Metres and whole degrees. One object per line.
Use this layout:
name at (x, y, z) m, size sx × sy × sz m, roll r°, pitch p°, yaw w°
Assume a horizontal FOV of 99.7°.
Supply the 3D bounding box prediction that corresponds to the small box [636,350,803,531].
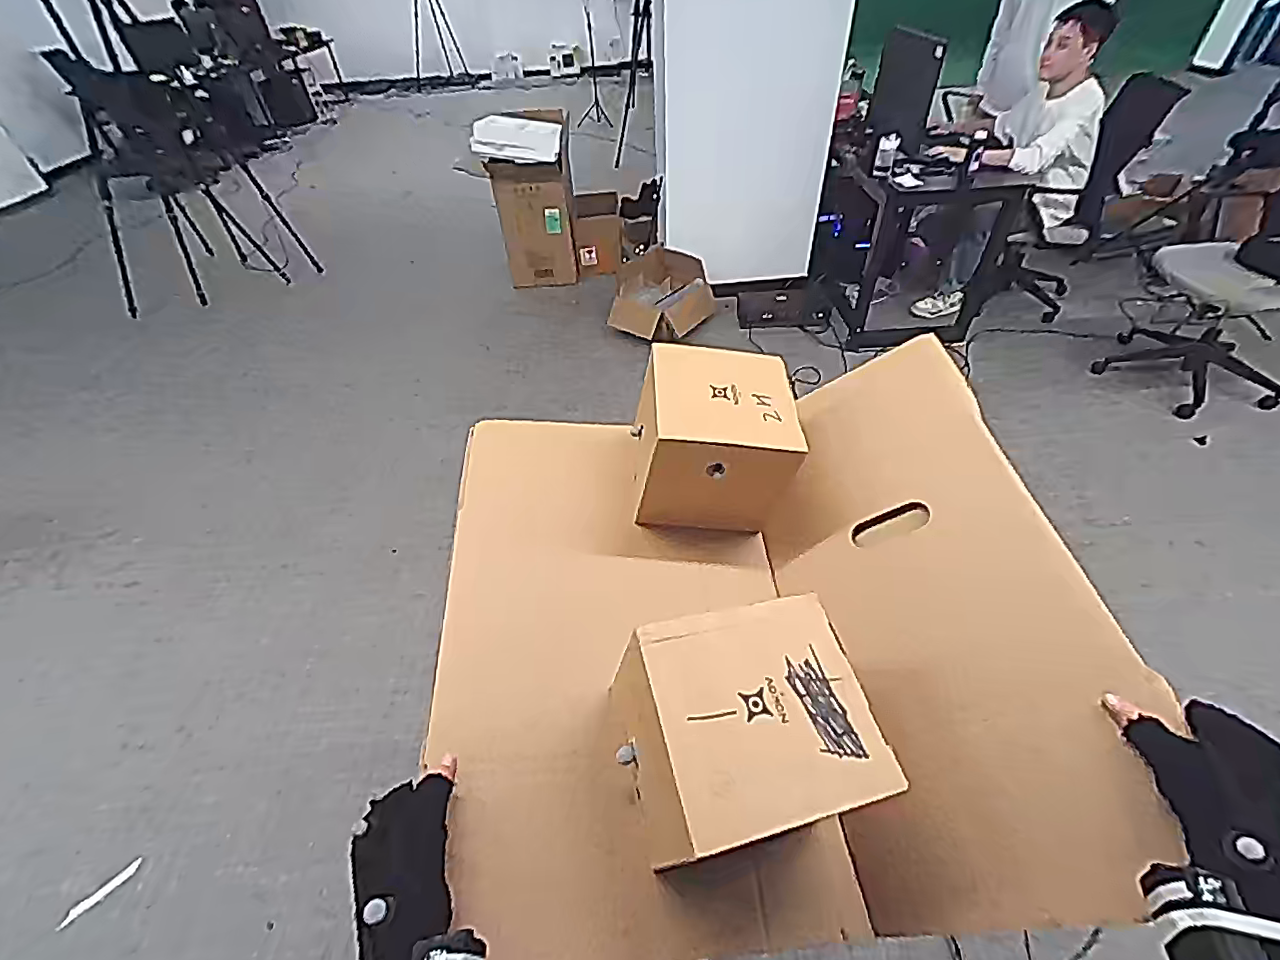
small box at (0.090, -0.046, 0.718) m, size 0.179 × 0.176 × 0.168 m, roll 6°, pitch 52°, yaw -8°

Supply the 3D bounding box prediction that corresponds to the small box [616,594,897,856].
small box at (0.086, 0.227, 0.500) m, size 0.179 × 0.176 × 0.168 m, roll -7°, pitch 54°, yaw -15°
